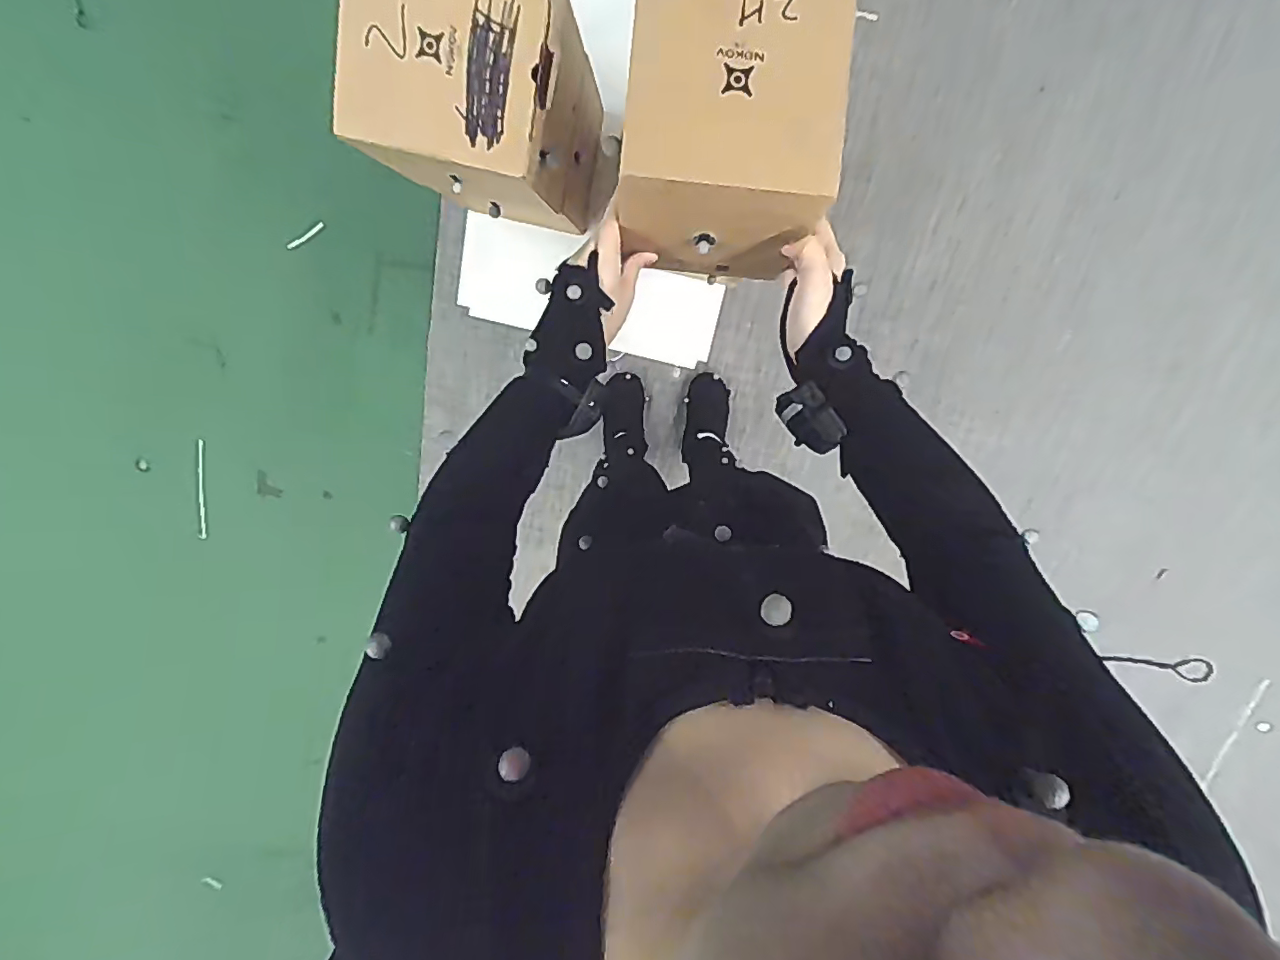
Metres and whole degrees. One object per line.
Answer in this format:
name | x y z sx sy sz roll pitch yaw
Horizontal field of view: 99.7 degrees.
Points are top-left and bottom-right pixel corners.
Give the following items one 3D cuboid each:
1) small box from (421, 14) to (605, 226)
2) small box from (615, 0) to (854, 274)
small box | -0.151 -0.435 0.685 0.179 0.176 0.168 12 107 -1
small box | 0.070 -0.303 0.482 0.168 0.176 0.179 6 89 -2
